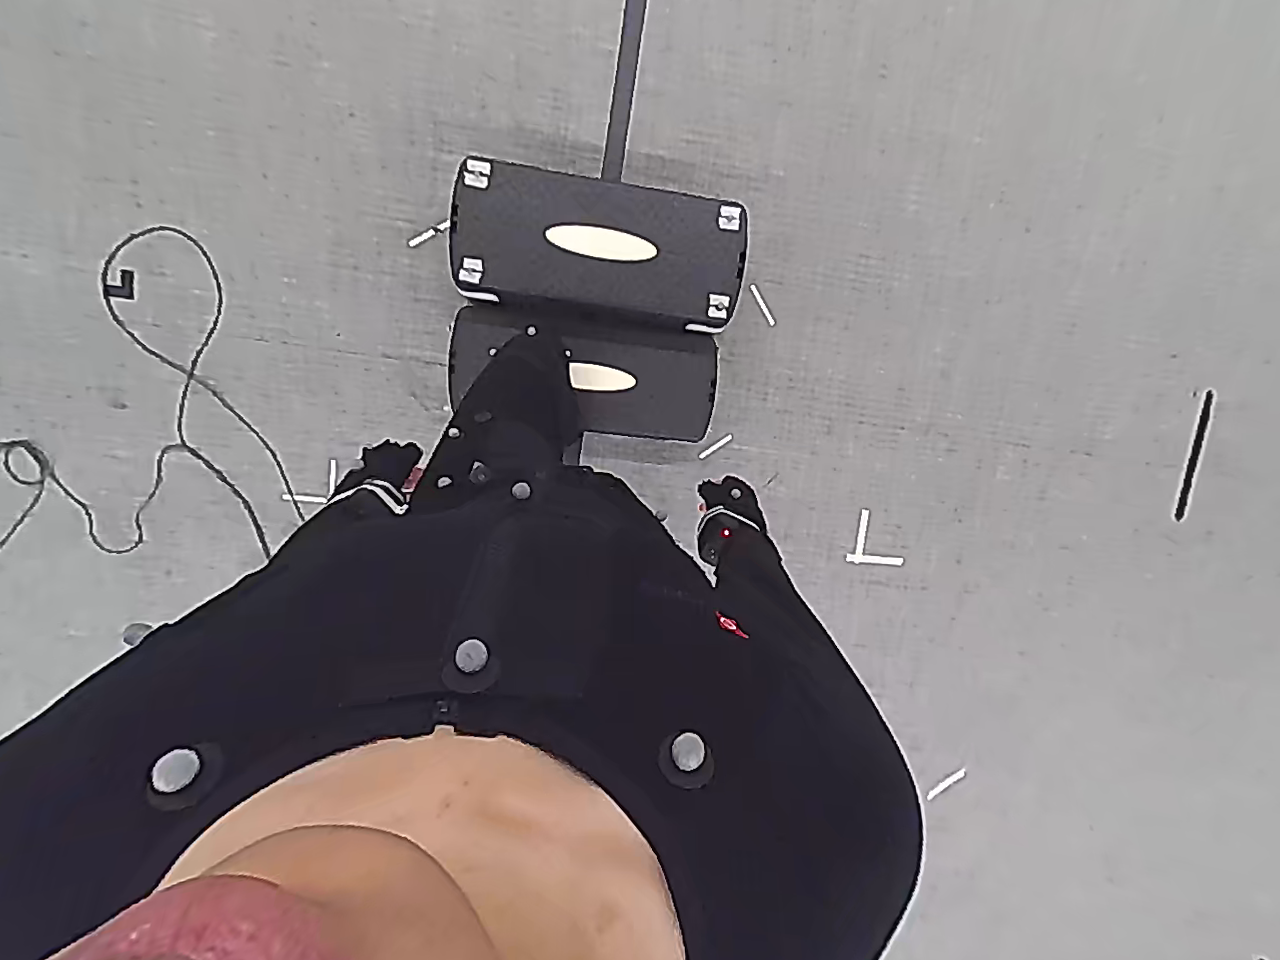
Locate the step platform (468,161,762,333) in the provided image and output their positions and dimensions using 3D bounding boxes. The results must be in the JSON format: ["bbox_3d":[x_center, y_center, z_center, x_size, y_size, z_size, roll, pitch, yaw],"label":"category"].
[{"bbox_3d":[-0.057,-0.545,1.305,0.684,0.204,0.286,6,98,-7],"label":"step platform"}]
